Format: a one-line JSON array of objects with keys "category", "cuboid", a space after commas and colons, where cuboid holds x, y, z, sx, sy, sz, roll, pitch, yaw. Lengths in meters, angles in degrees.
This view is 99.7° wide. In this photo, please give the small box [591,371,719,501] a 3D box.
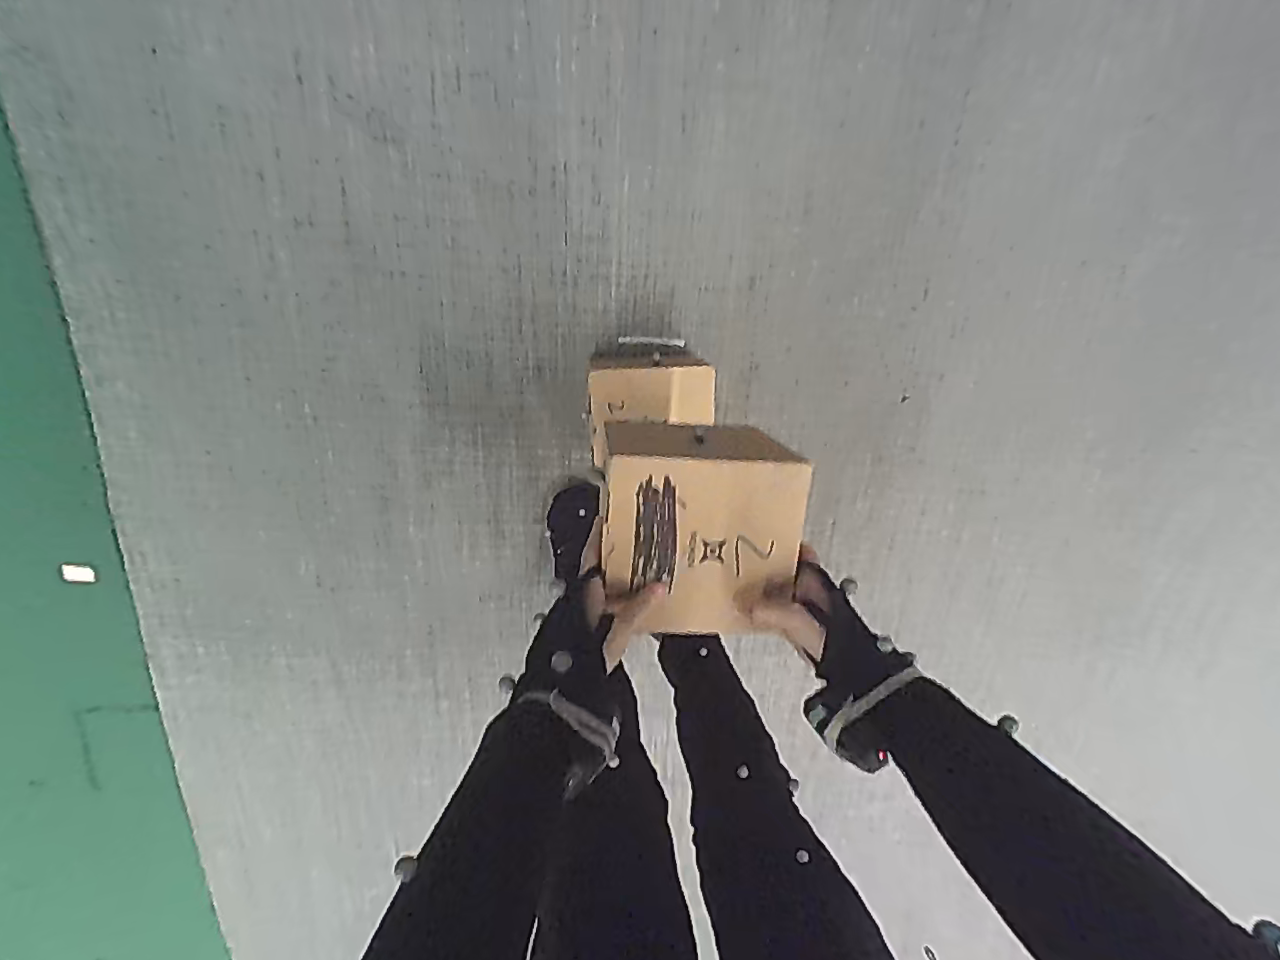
[{"category": "small box", "cuboid": [0.016, -0.075, 0.830, 0.179, 0.176, 0.168, -3, 107, -4]}]
